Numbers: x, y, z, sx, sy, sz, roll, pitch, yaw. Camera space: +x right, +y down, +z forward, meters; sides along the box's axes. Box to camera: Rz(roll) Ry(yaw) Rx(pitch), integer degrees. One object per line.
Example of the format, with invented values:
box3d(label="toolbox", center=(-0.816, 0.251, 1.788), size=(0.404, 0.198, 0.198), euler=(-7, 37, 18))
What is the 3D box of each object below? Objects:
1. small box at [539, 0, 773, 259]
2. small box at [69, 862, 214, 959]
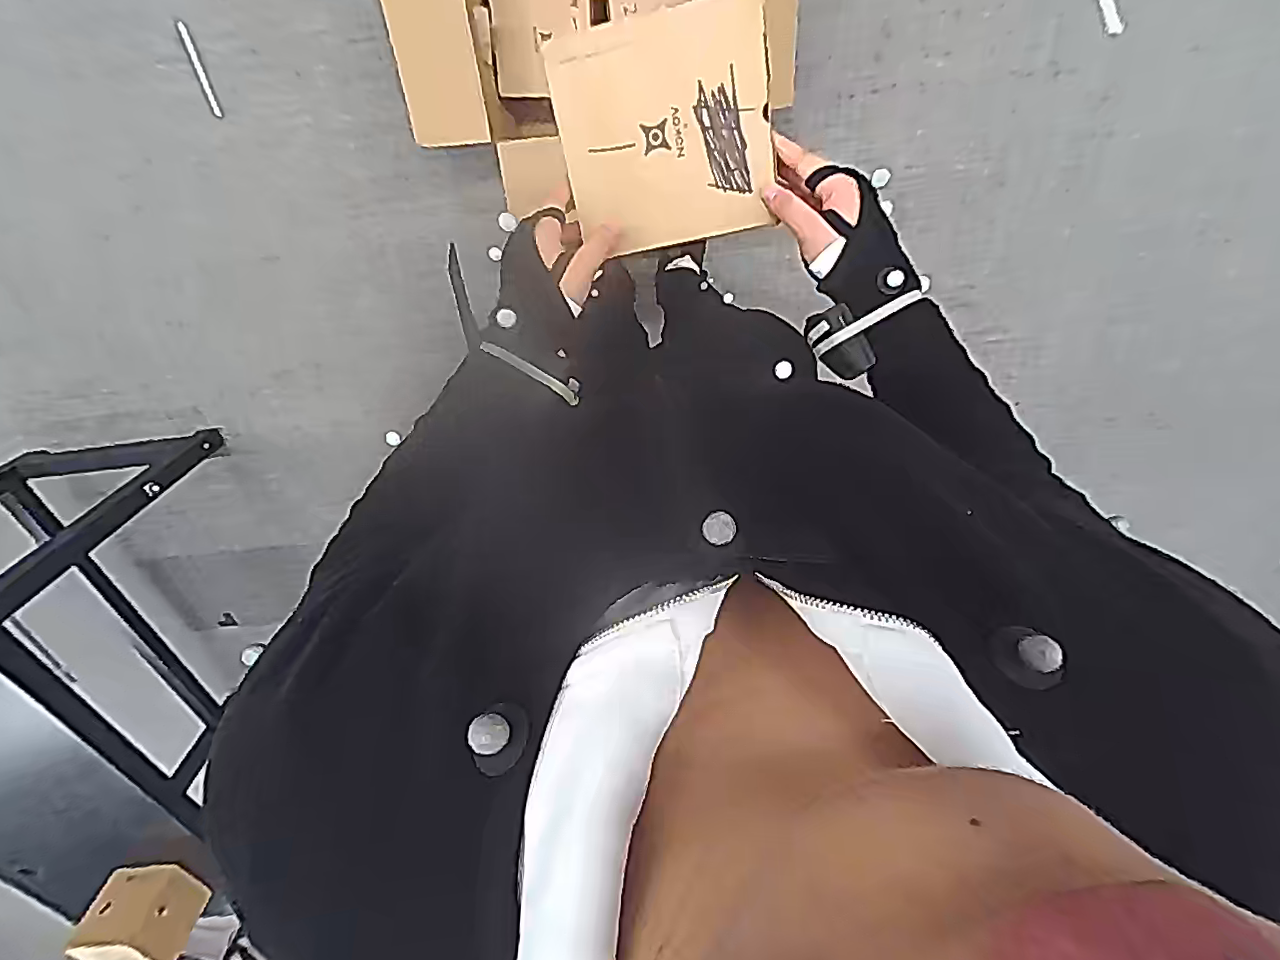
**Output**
box3d(label="small box", center=(0.022, -0.320, 0.519), size=(0.179, 0.176, 0.168), euler=(-8, 115, 8))
box3d(label="small box", center=(-1.250, 1.096, 1.372), size=(0.168, 0.176, 0.179), euler=(-7, 124, 4))
